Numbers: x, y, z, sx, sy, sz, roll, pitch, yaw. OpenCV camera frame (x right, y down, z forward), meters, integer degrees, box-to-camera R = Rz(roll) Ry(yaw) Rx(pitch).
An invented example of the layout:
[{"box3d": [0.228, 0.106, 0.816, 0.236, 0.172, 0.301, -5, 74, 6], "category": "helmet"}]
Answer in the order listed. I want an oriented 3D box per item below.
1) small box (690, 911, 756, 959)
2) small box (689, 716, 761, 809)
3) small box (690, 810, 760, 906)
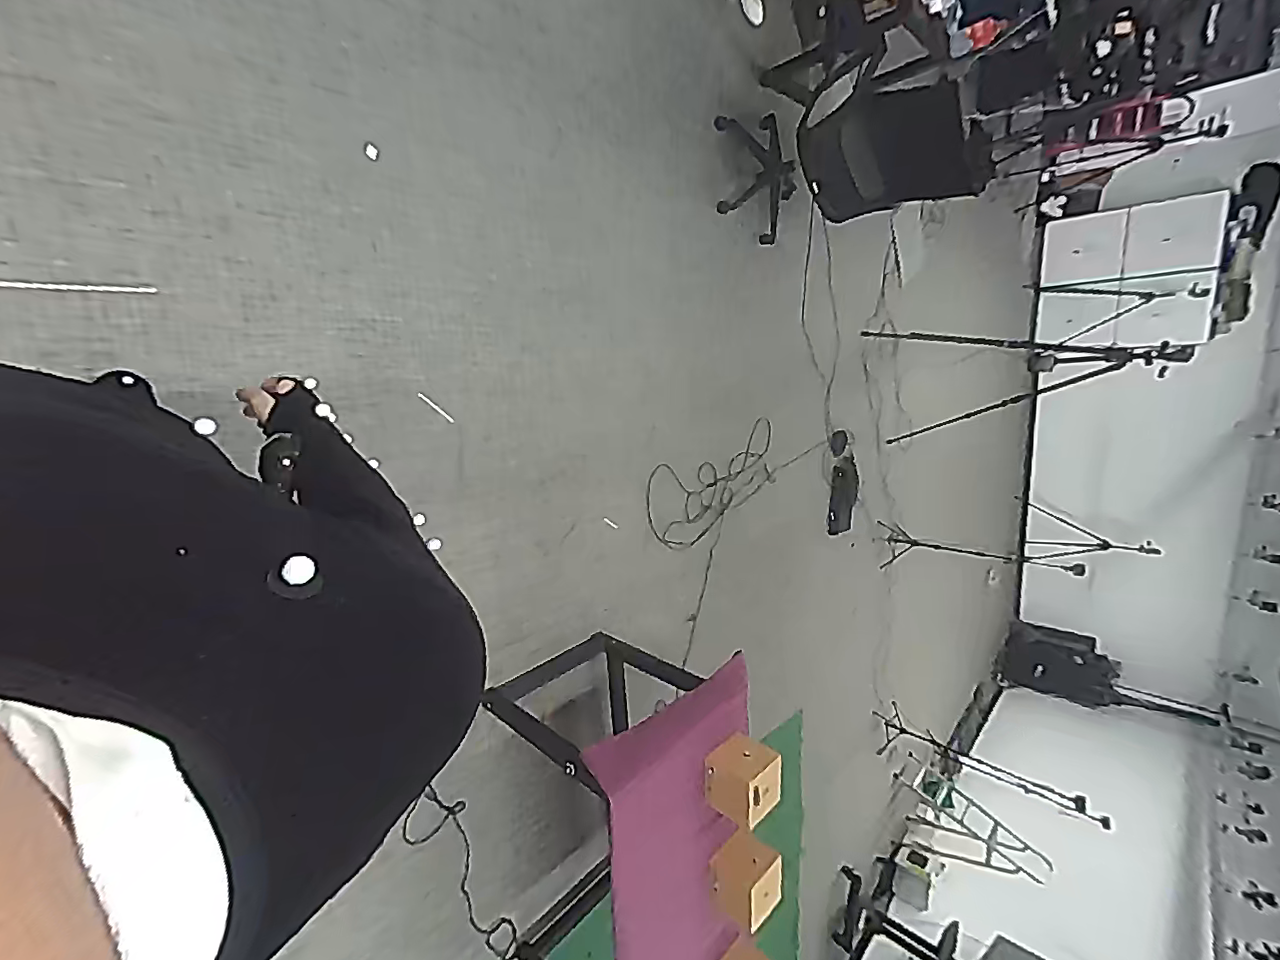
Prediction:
[{"box3d": [0.294, 1.697, 1.914, 0.179, 0.176, 0.168, -13, 106, -45], "category": "small box"}, {"box3d": [0.271, 0.902, 1.742, 0.179, 0.176, 0.168, -13, 107, -44], "category": "small box"}, {"box3d": [0.288, 1.268, 1.832, 0.179, 0.176, 0.168, -11, 104, -45], "category": "small box"}]
